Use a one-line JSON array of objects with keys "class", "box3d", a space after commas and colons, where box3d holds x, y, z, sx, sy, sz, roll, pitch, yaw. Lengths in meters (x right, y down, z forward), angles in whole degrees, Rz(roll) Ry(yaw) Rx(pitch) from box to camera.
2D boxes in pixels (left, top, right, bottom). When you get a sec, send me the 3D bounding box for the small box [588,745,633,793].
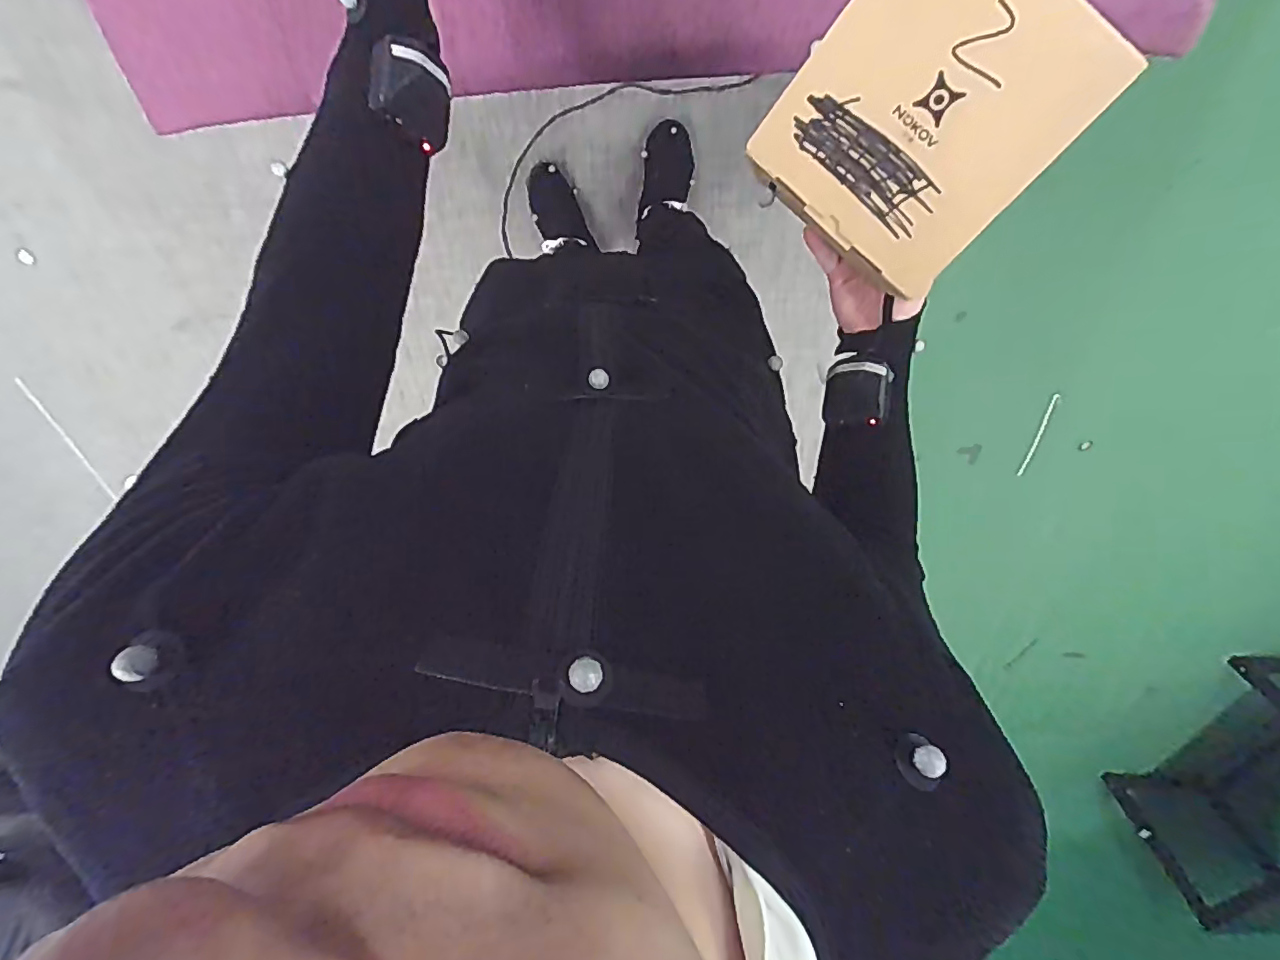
[{"class": "small box", "box3d": [-0.109, 1.144, 2.078, 0.168, 0.176, 0.179, -1, 124, -1]}]
